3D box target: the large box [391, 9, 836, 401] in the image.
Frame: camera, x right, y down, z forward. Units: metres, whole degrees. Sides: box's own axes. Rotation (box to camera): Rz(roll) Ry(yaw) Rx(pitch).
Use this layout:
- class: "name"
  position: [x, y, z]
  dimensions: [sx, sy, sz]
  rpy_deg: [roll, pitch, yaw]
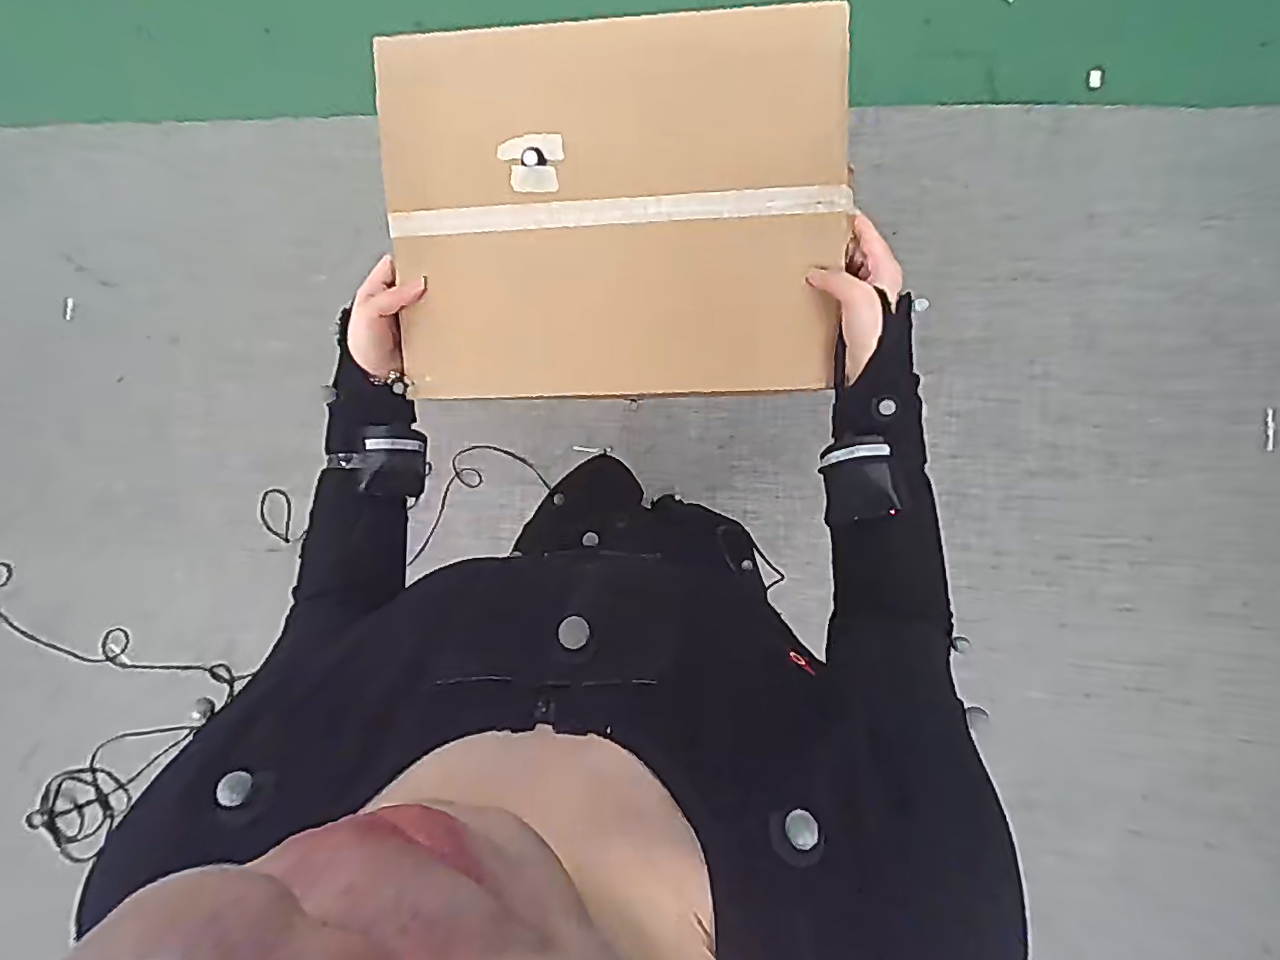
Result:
- class: "large box"
  position: [-0.009, -0.260, 0.639]
  dimensions: [0.408, 0.320, 0.320]
  rpy_deg: [-1, 98, 6]
